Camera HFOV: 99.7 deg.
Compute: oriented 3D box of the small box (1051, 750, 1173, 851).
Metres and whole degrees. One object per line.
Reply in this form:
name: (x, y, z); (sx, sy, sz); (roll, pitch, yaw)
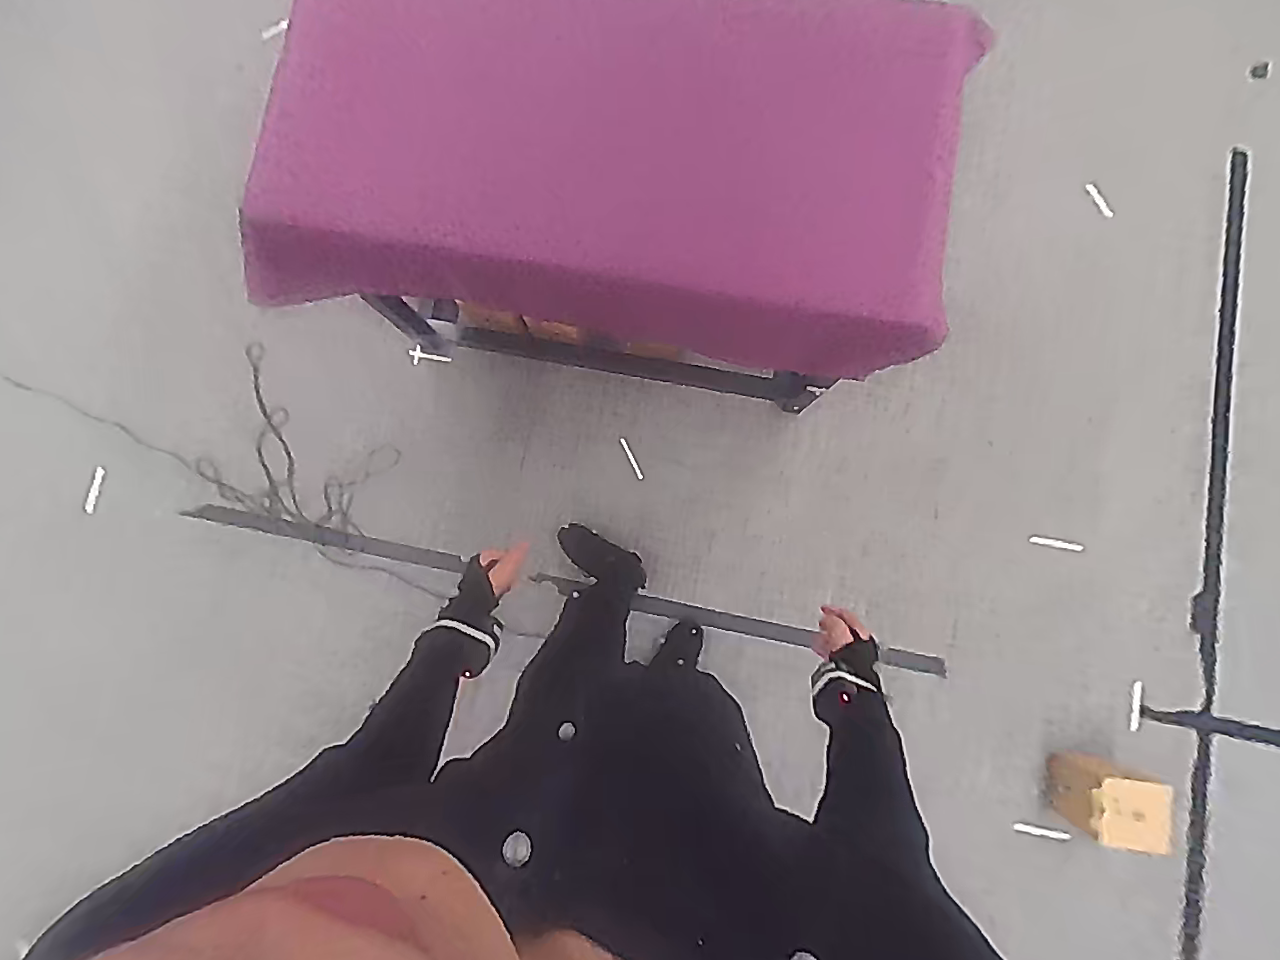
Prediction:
small box: (1.240, 0.836, 1.428); (0.179, 0.176, 0.168); (7, 85, 3)
